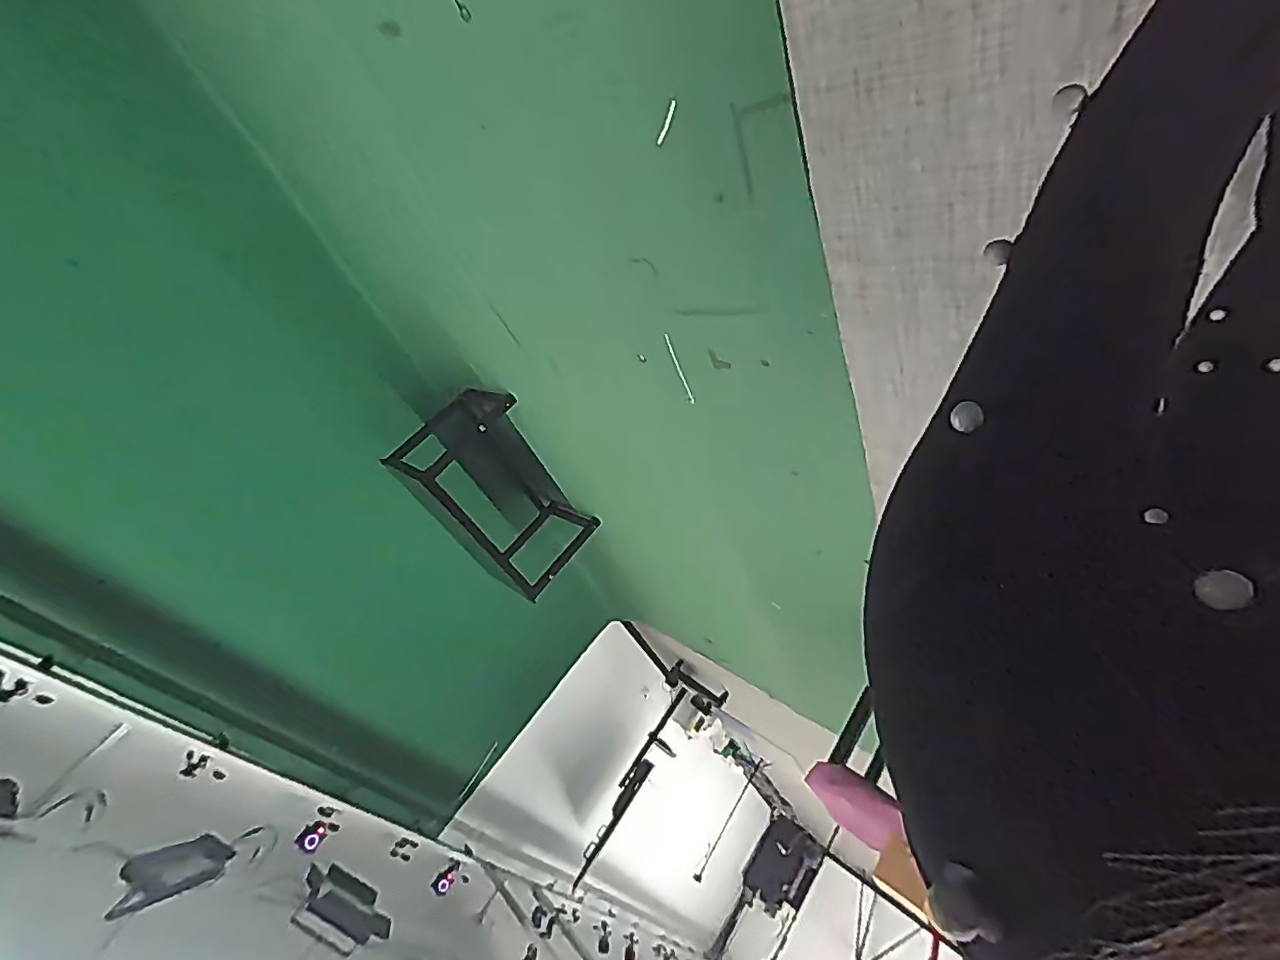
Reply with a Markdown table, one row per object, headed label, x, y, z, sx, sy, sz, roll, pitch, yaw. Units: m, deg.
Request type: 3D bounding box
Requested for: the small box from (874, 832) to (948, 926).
| label | x | y | z | sx | sy | sz | roll | pitch | yaw |
| --- | --- | --- | --- | --- | --- | --- | --- | --- | --- |
| small box | 0.887 | 1.295 | 1.761 | 0.168 | 0.176 | 0.179 | 17 | 147 | 43 |
